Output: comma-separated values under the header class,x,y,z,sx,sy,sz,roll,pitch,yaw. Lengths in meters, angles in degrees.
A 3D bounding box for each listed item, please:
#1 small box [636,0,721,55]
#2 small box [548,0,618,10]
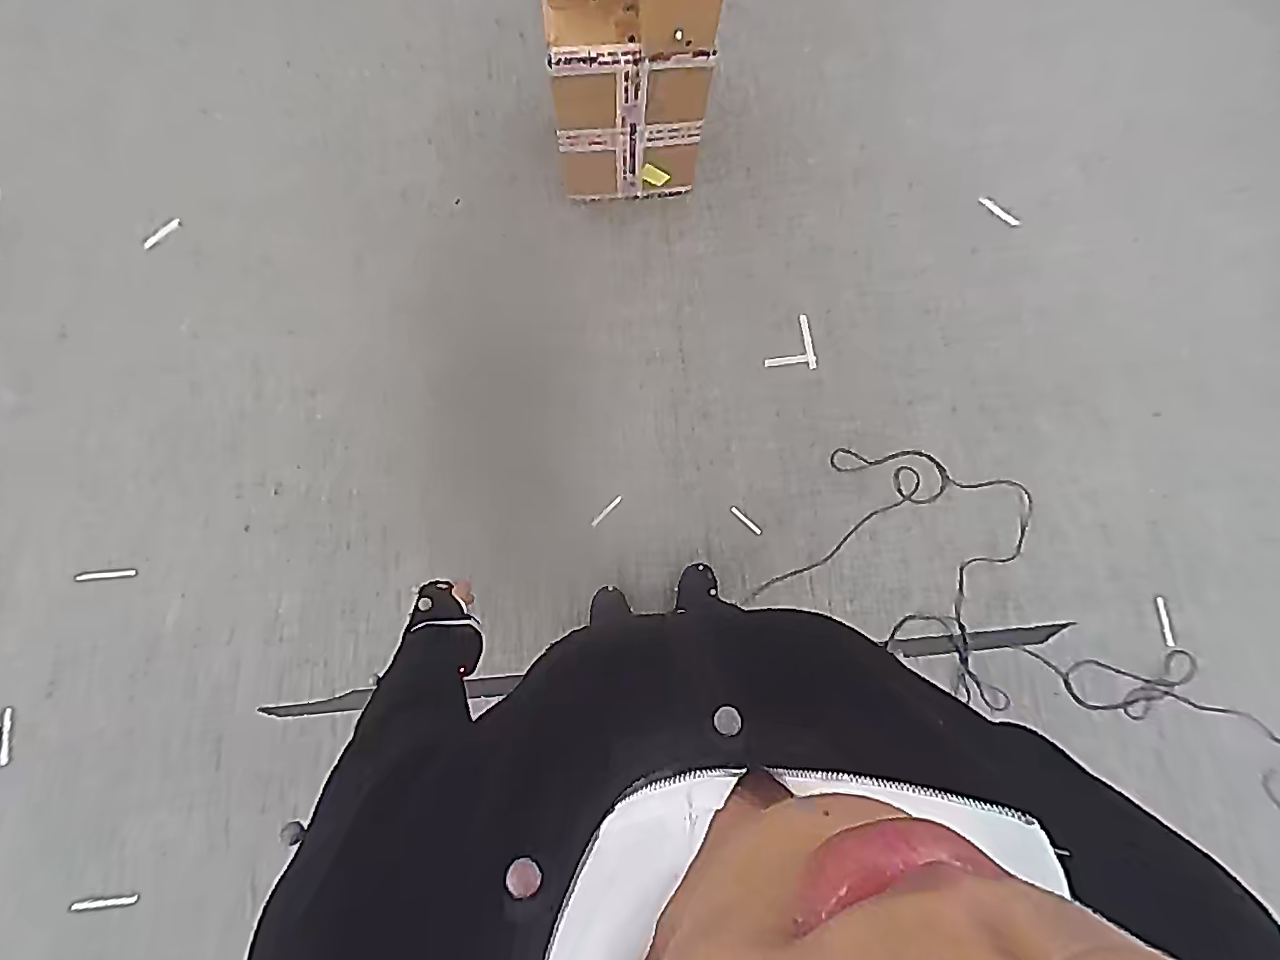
class,x,y,z,sx,sy,sz,roll,pitch,yaw
small box,0.079,-1.075,1.176,0.168,0.176,0.179,-5,83,-3
small box,-0.136,-1.187,1.184,0.168,0.176,0.179,-5,82,-1
